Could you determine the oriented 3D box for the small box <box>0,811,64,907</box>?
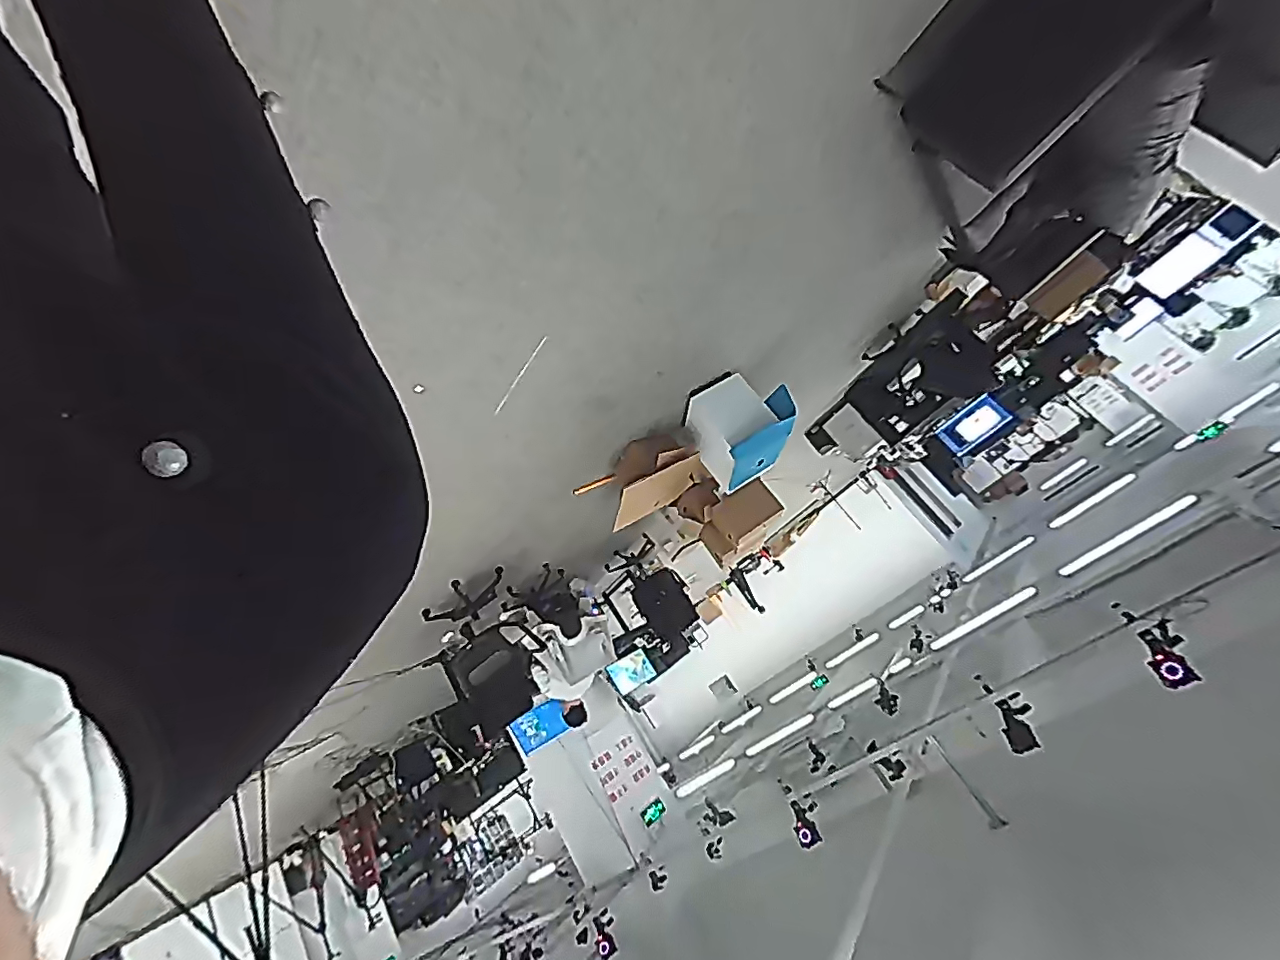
[{"bbox_3d":[-1.772,1.079,1.534,0.168,0.176,0.179,-10,148,-50],"label":"small box"}]
